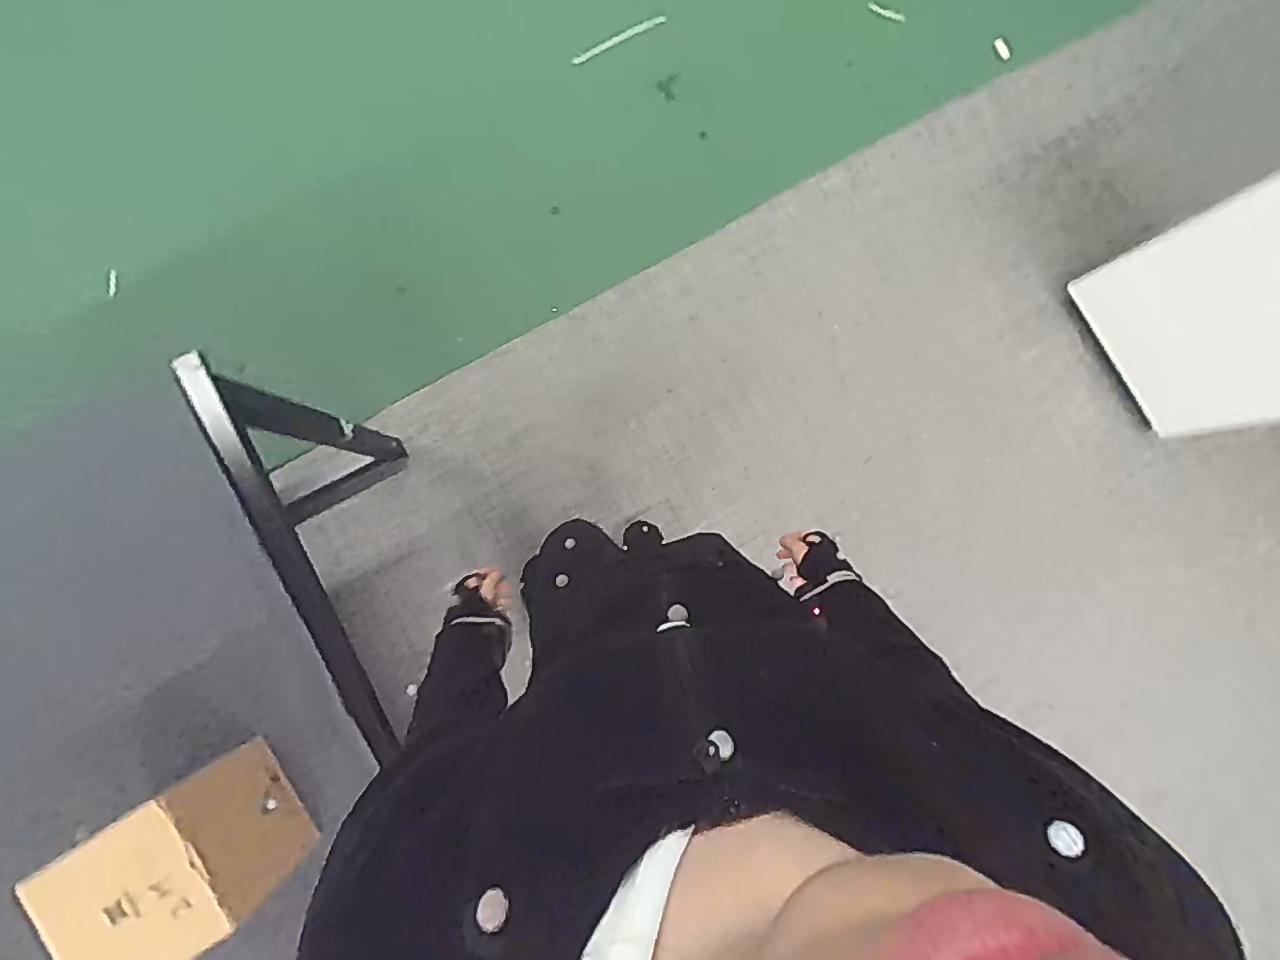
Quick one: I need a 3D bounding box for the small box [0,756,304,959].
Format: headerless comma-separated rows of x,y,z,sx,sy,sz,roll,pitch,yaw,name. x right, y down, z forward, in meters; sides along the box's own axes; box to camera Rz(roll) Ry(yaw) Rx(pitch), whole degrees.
-0.545,0.465,0.625,0.179,0.176,0.168,-33,87,-4,small box
